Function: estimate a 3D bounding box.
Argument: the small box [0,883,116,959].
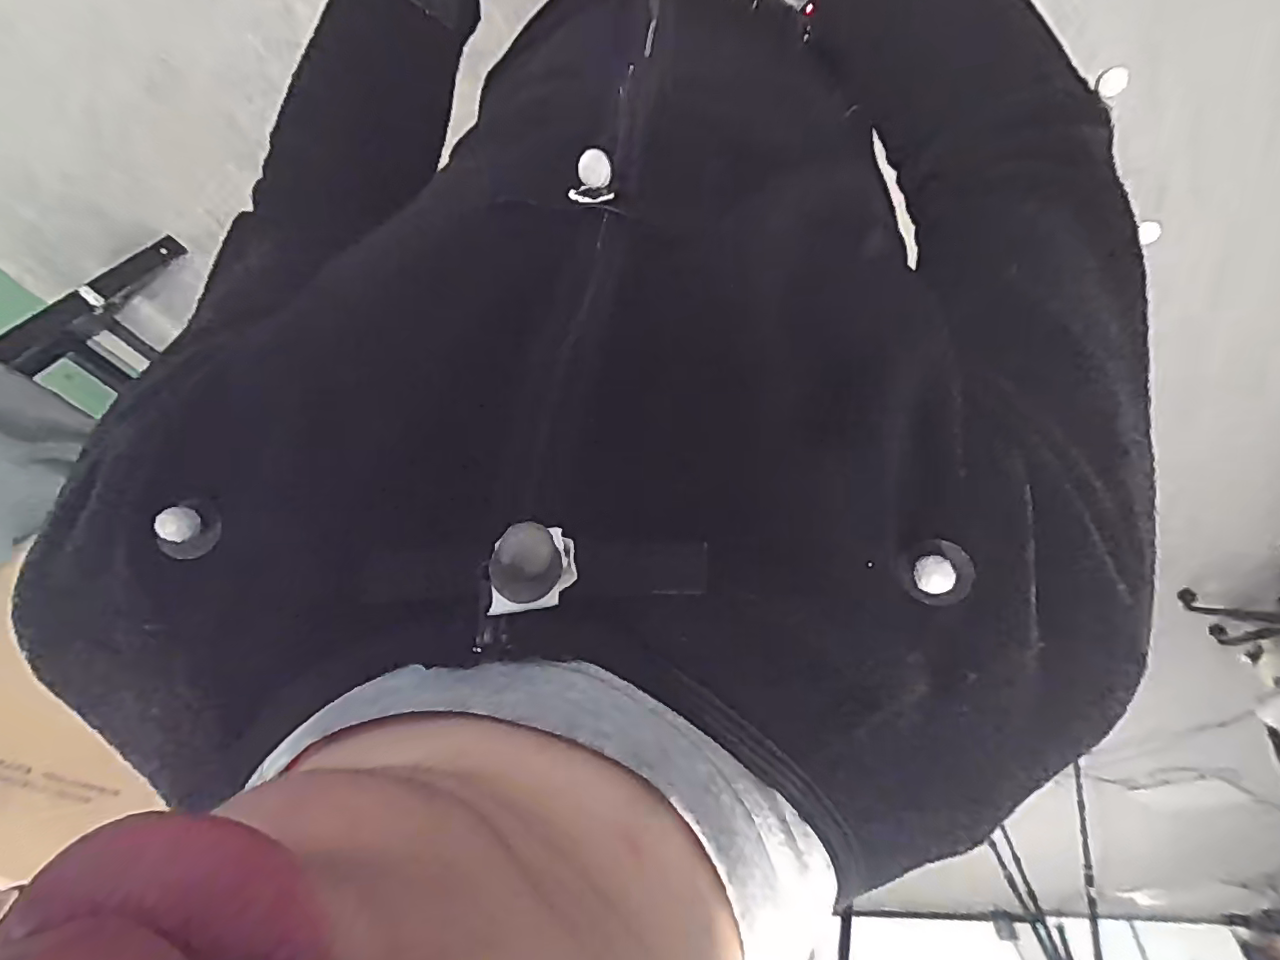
[{"bbox_3d":[-1.146,0.863,0.998,0.168,0.176,0.179,-20,131,24],"label":"small box"}]
